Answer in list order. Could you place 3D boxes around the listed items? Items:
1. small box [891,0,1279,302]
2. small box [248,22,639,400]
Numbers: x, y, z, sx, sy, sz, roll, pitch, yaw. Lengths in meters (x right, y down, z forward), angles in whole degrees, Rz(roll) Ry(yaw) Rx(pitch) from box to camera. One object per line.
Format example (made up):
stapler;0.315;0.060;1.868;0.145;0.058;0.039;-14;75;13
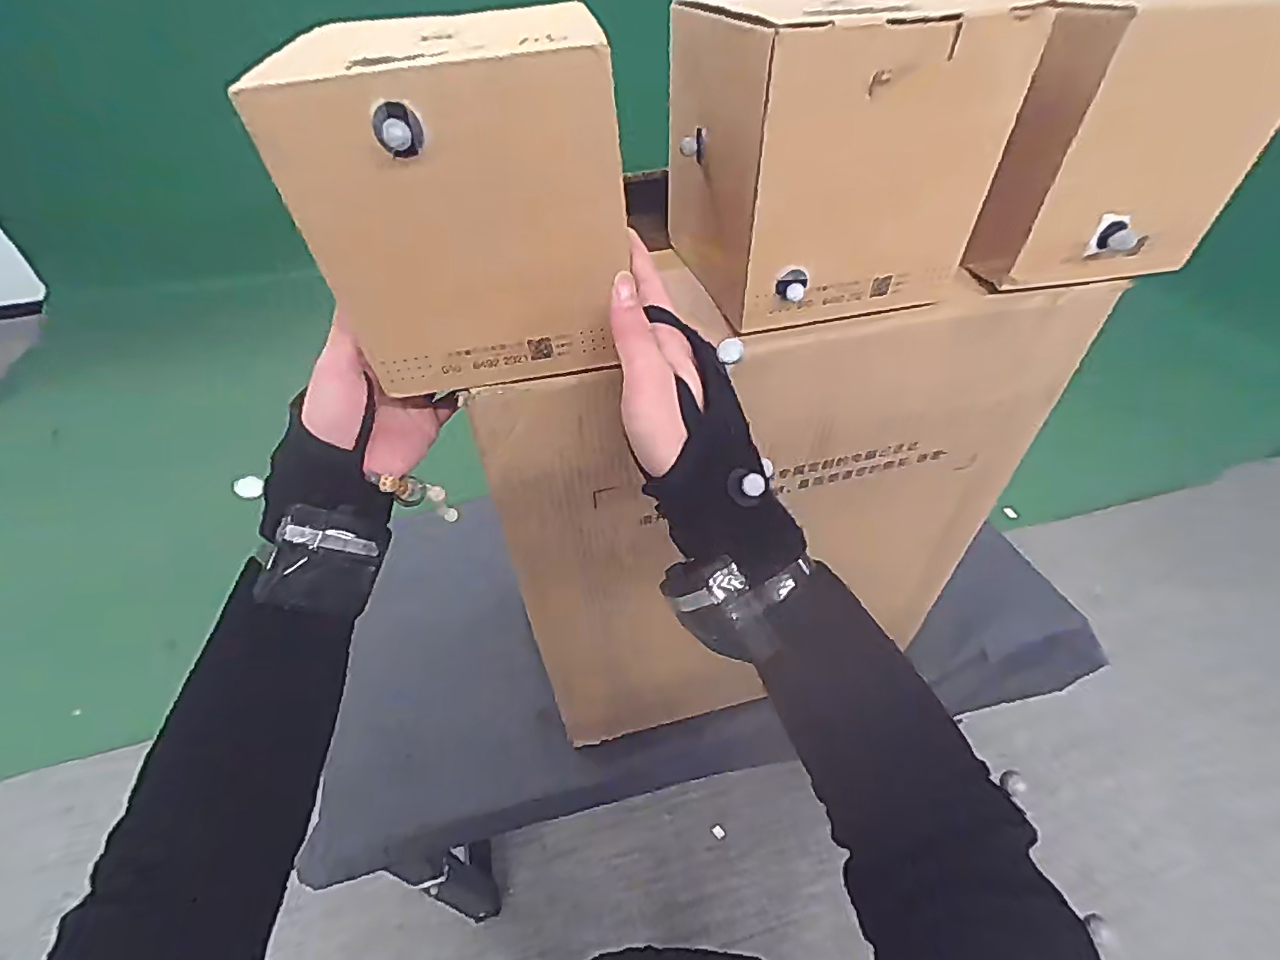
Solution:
small box;0.334;-0.263;0.429;0.168;0.176;0.179;-11;46;-8
small box;-0.097;-0.177;0.355;0.168;0.176;0.179;-10;45;-1
